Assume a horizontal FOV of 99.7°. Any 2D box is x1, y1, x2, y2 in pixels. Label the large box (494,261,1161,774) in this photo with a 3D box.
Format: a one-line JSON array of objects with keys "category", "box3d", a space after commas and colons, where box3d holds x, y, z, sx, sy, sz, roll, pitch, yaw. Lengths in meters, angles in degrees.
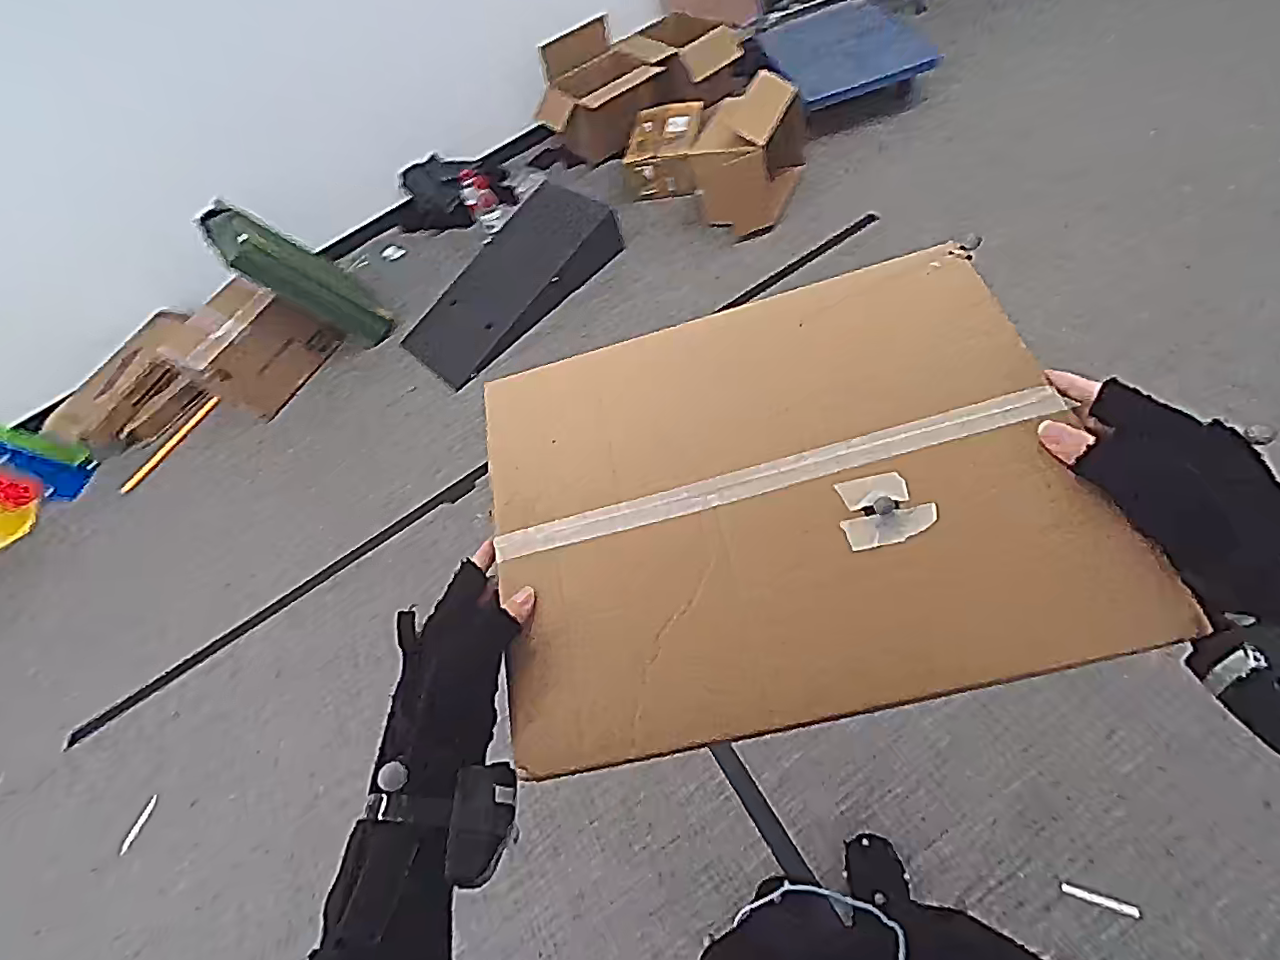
[{"category": "large box", "box3d": [0.118, 0.065, 0.533, 0.408, 0.320, 0.320, -16, 64, 5]}]
